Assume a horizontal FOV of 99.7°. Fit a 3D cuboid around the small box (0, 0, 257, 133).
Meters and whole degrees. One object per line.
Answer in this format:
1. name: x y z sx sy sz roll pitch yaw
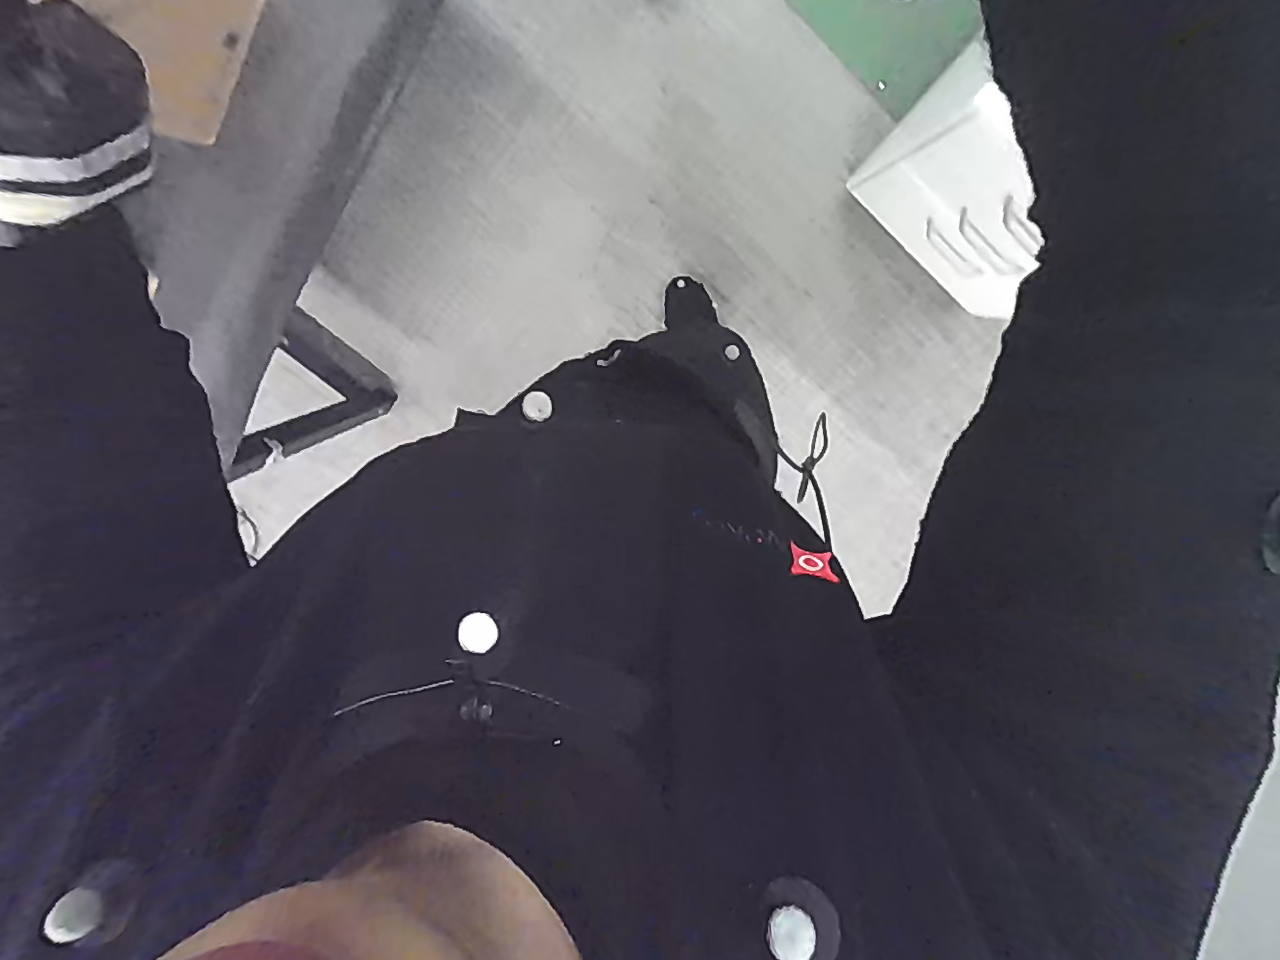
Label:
1. small box: -0.473 -0.423 0.438 0.179 0.176 0.168 36 109 -7
